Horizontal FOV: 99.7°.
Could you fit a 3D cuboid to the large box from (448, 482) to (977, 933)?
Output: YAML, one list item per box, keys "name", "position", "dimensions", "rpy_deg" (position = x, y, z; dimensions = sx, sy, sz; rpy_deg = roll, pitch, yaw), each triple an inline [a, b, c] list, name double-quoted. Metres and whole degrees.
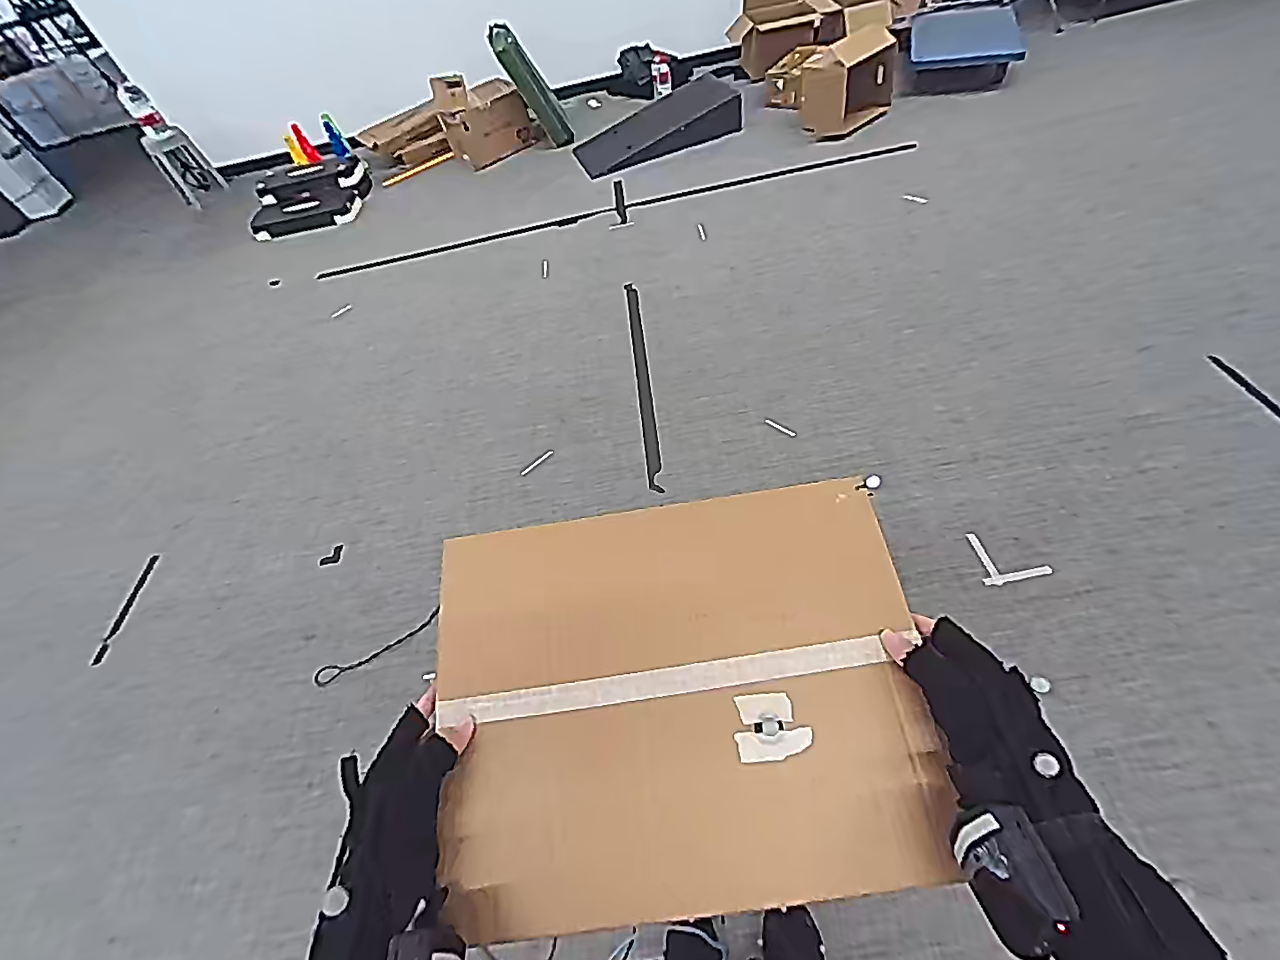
- name: "large box"
  position: [0.043, 0.235, 0.595]
  dimensions: [0.408, 0.320, 0.320]
  rpy_deg: [-9, 63, 1]
